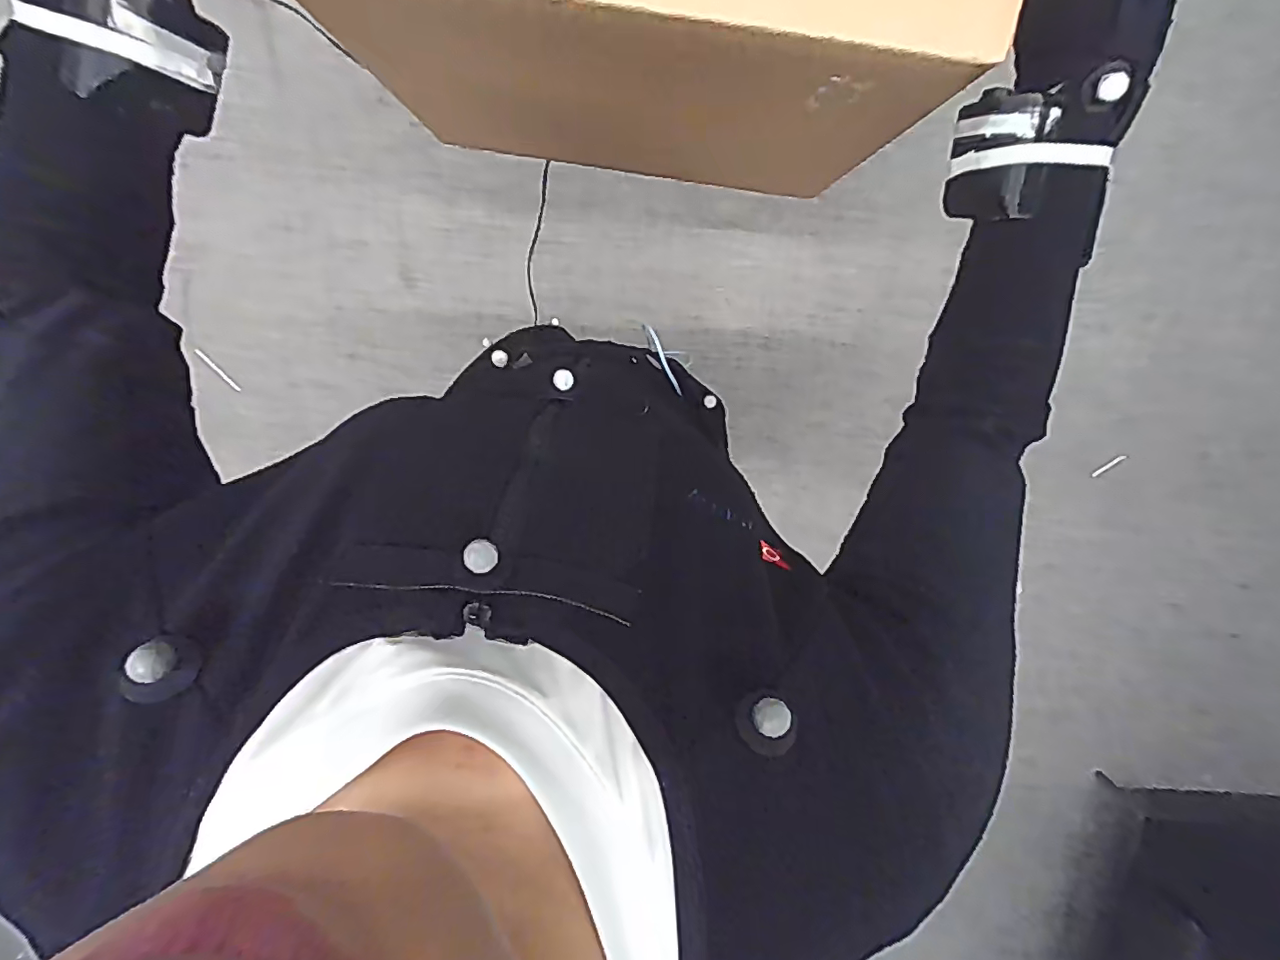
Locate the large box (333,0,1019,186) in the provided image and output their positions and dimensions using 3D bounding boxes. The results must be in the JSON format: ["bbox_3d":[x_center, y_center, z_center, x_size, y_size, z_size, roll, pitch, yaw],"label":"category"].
[{"bbox_3d":[0.017,-0.441,0.394,0.408,0.320,0.320,6,106,-4],"label":"large box"}]
